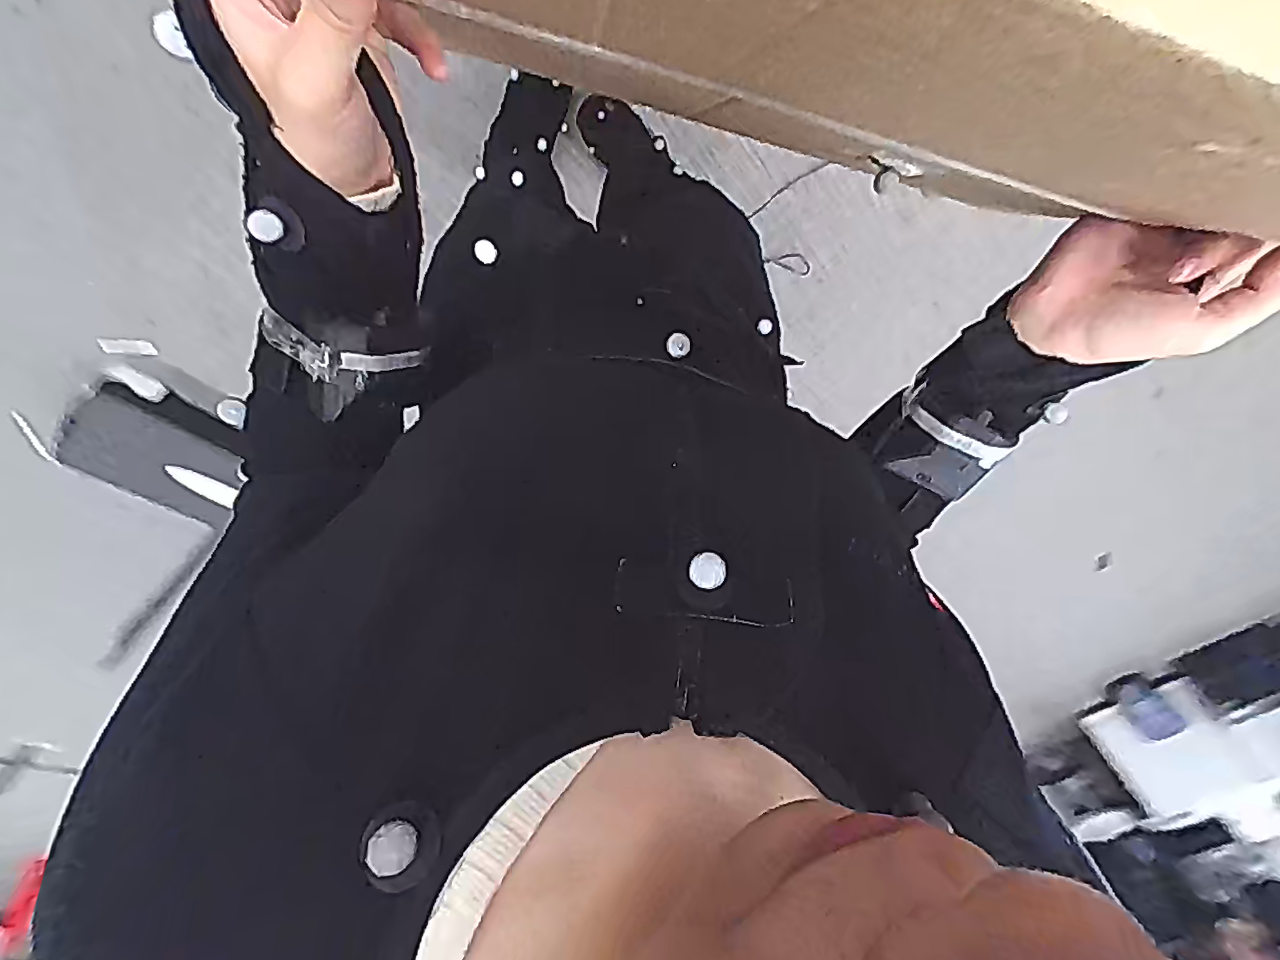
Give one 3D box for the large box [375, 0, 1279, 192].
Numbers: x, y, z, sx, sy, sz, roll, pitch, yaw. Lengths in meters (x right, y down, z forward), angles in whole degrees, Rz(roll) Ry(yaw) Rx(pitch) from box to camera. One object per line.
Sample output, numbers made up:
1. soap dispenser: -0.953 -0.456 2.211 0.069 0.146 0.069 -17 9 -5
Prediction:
1. large box: 0.104 -0.299 0.152 0.408 0.320 0.320 6 120 -11
